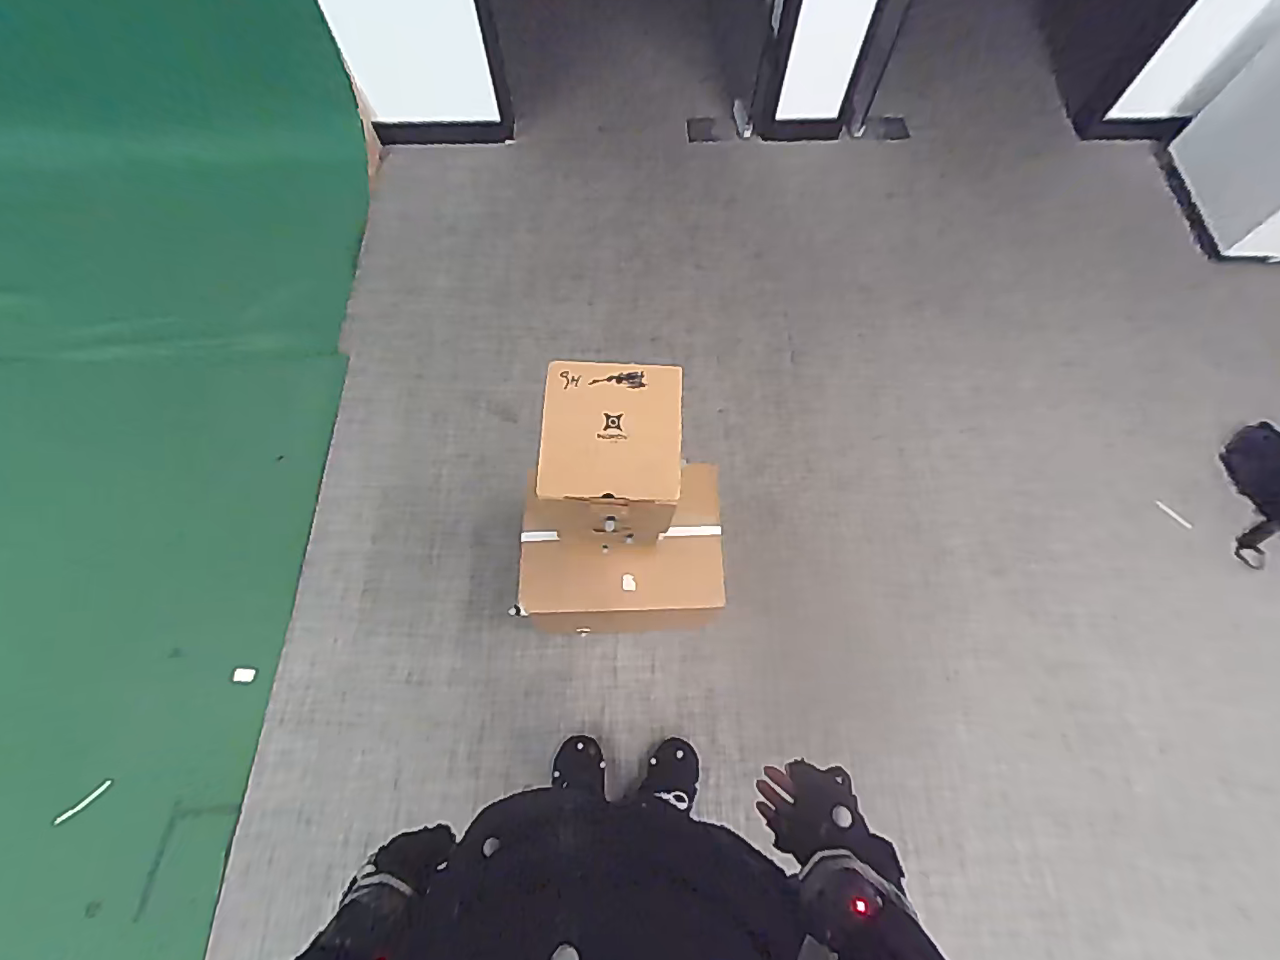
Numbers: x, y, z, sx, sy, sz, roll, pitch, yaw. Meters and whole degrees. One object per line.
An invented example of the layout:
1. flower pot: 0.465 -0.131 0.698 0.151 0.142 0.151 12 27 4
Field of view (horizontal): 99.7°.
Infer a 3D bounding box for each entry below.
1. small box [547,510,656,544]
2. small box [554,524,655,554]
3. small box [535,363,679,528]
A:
1. small box: -0.048 0.001 0.879 0.168 0.176 0.179 5 72 -1
2. small box: -0.057 0.043 1.033 0.179 0.176 0.168 5 71 1
3. small box: -0.038 -0.036 0.720 0.168 0.176 0.179 3 73 -1
